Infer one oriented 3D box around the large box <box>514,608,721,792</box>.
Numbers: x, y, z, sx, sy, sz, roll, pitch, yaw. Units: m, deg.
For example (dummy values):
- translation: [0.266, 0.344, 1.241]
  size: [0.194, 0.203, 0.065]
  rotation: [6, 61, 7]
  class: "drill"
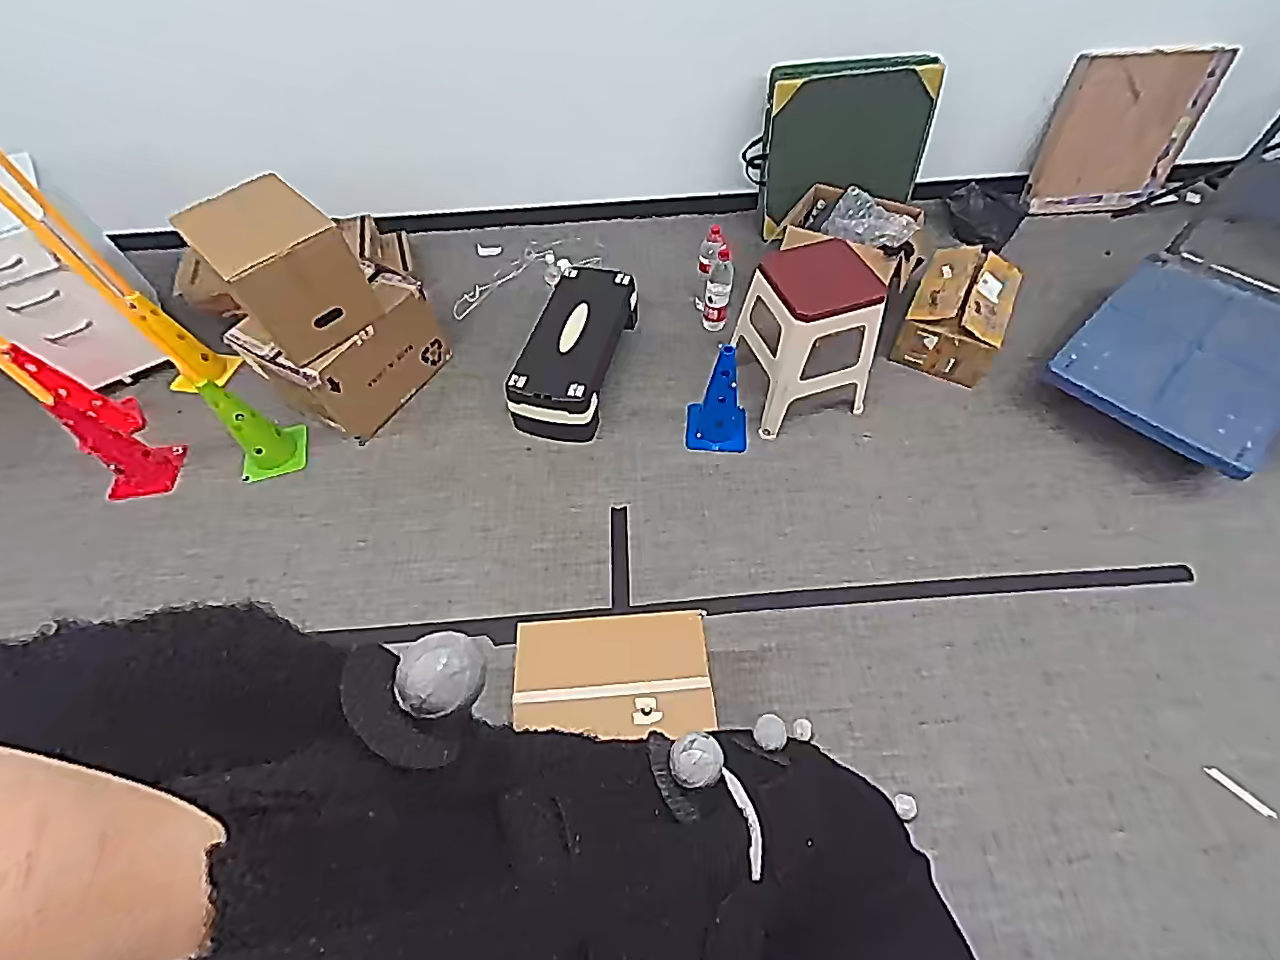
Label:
- translation: [-0.054, 0.506, 1.230]
  size: [0.408, 0.320, 0.320]
  rotation: [-3, 57, -2]
  class: "large box"
